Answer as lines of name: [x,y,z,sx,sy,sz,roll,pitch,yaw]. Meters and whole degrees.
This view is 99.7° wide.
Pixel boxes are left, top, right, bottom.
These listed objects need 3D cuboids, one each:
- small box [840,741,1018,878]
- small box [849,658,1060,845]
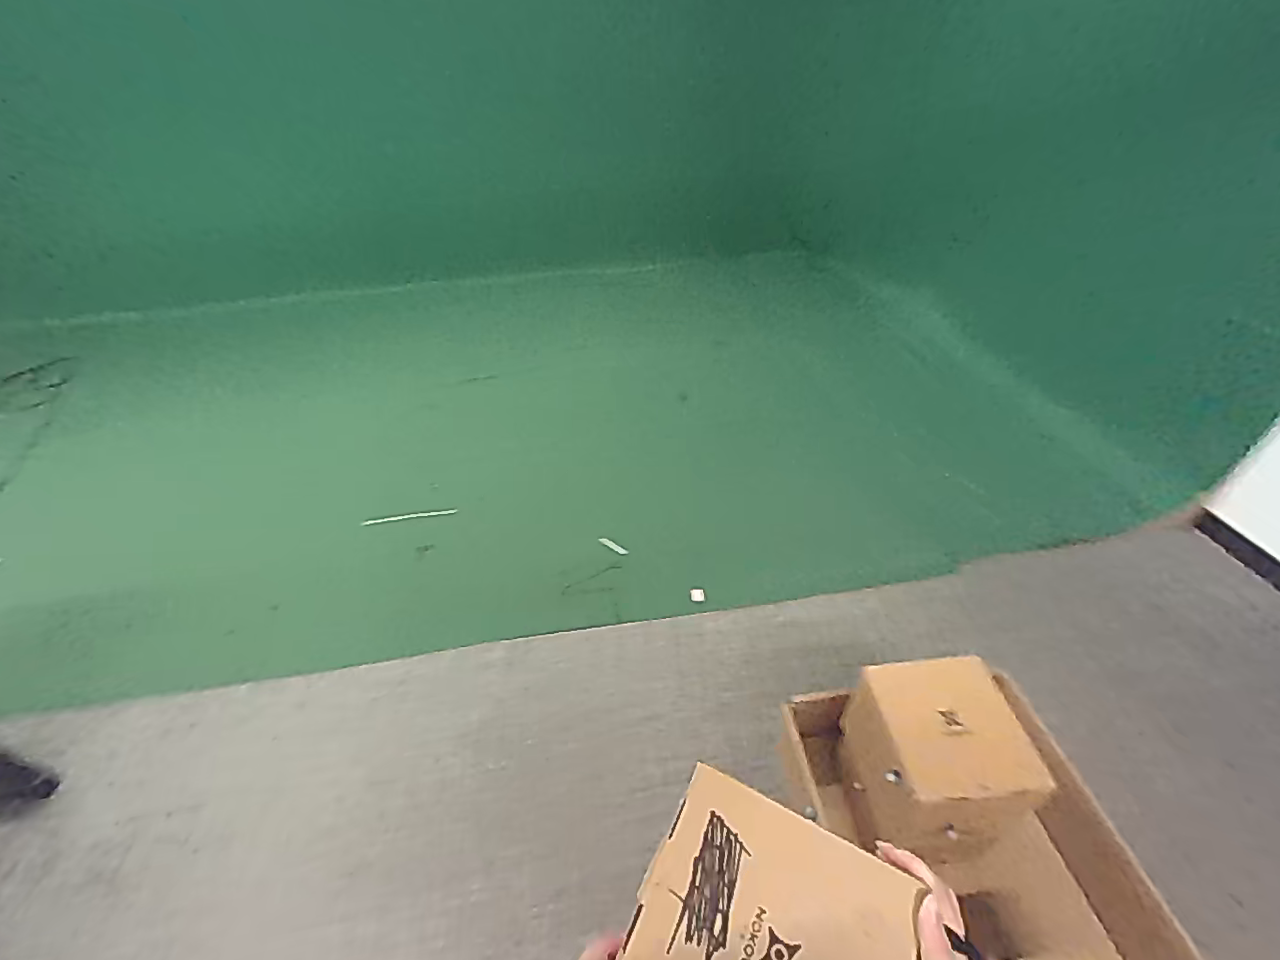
small box: [0.432,0.492,0.848,0.168,0.176,0.179,-6,42,-1]
small box: [0.407,0.371,0.742,0.168,0.176,0.179,-6,42,0]
